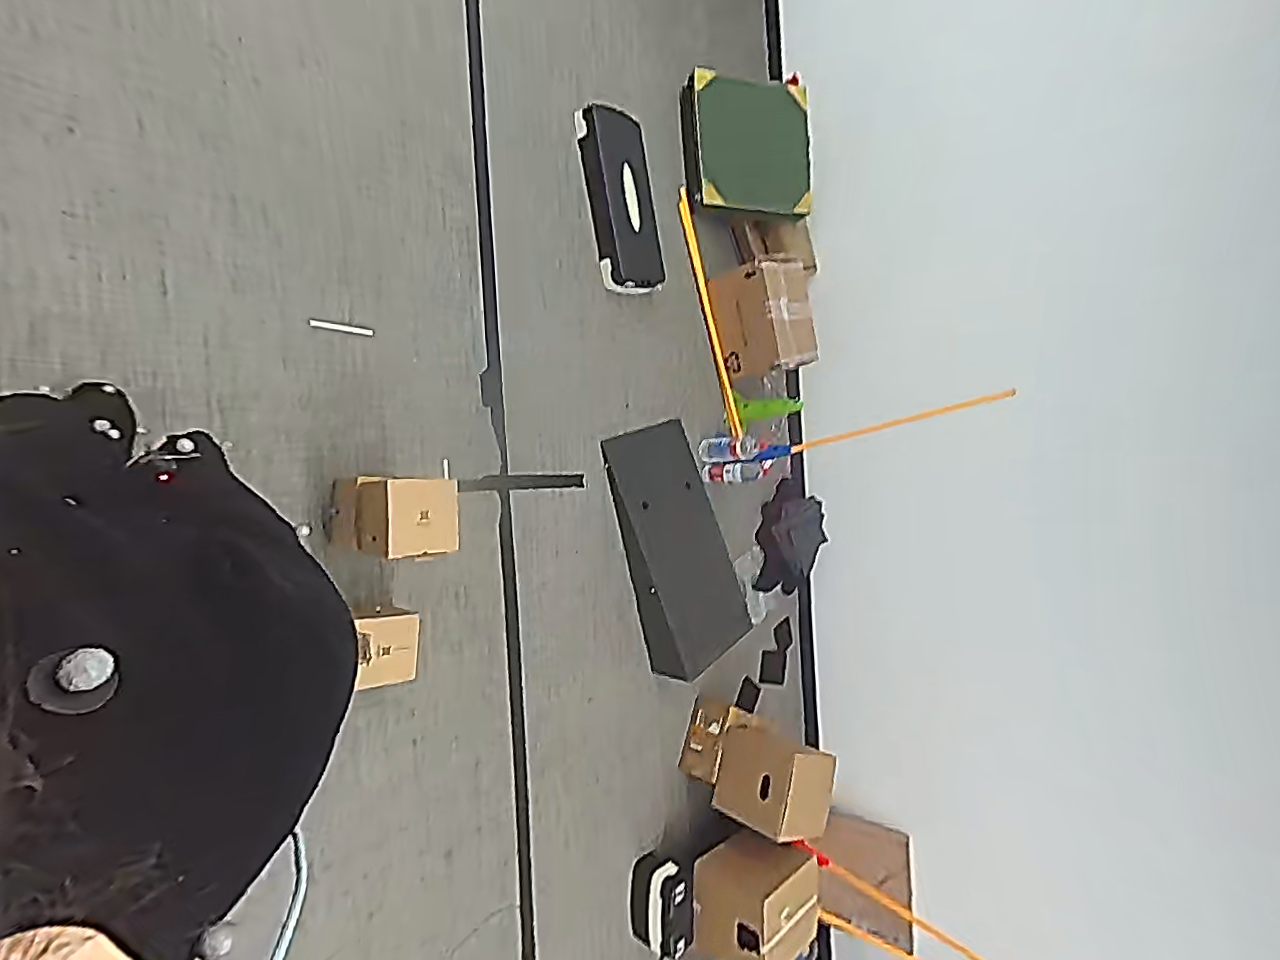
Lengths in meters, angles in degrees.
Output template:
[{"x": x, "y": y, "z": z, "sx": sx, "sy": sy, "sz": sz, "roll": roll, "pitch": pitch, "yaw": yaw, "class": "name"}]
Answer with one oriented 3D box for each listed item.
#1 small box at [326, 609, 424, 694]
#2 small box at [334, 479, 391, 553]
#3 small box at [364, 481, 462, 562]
[{"x": -0.669, "y": 0.422, "z": 1.359, "sx": 0.179, "sy": 0.176, "sz": 0.168, "roll": 6, "pitch": 83, "yaw": -47, "class": "small box"}, {"x": -0.665, "y": 0.090, "z": 1.382, "sx": 0.168, "sy": 0.176, "sz": 0.179, "roll": 6, "pitch": 84, "yaw": -46, "class": "small box"}, {"x": -0.538, "y": 0.093, "z": 1.278, "sx": 0.168, "sy": 0.176, "sz": 0.179, "roll": 0, "pitch": 87, "yaw": -47, "class": "small box"}]
